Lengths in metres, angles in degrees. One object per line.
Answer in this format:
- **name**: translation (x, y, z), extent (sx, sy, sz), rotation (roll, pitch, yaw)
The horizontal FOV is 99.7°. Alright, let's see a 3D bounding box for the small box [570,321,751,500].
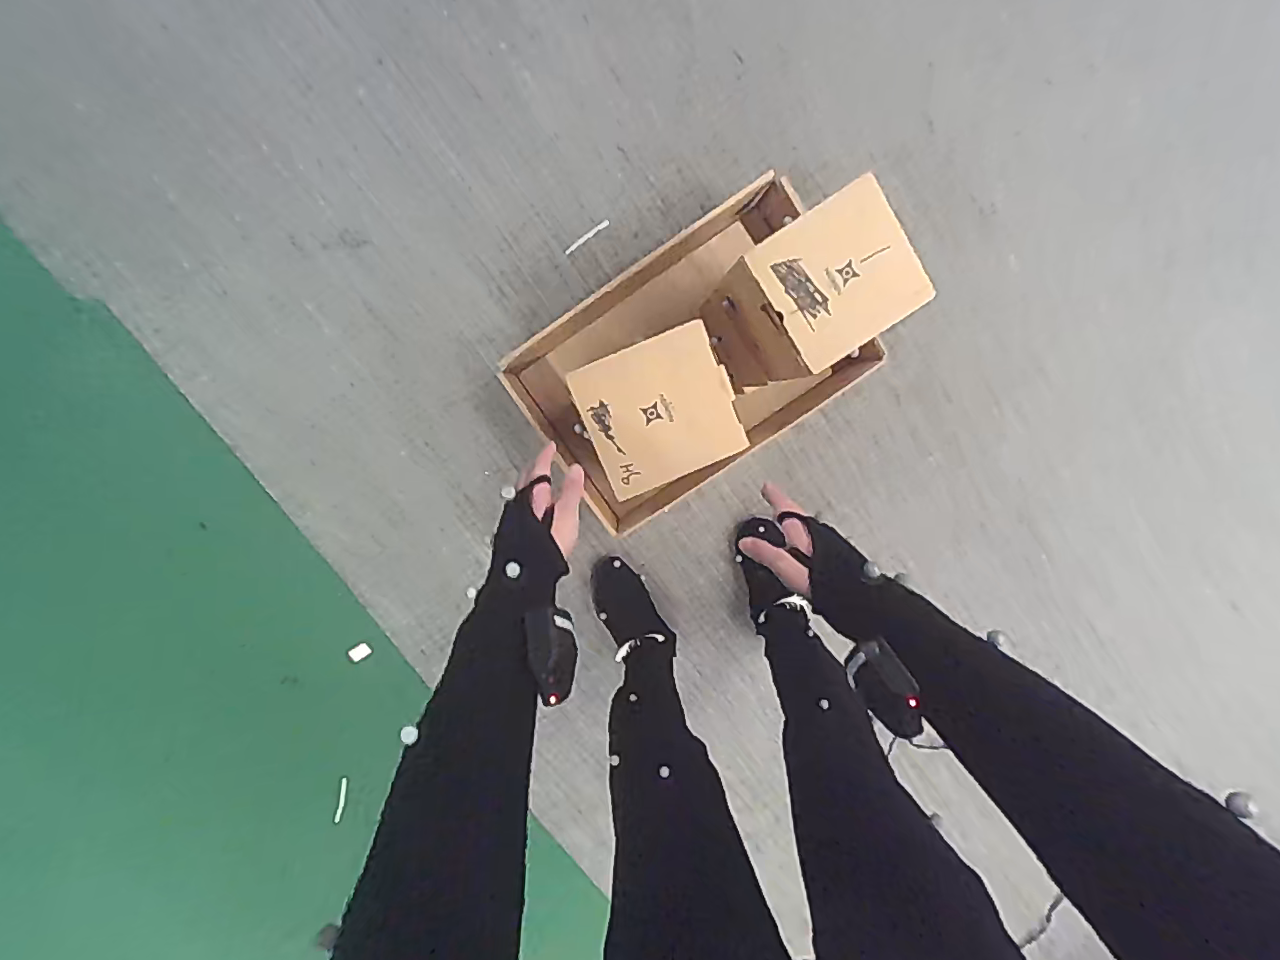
- **small box**: translation (0.020, -0.091, 0.716), extent (0.179, 0.176, 0.168), rotation (-23, 97, -1)

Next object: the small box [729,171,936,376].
- **small box**: translation (0.231, -0.248, 0.705), extent (0.179, 0.176, 0.168), rotation (-33, 98, 3)
